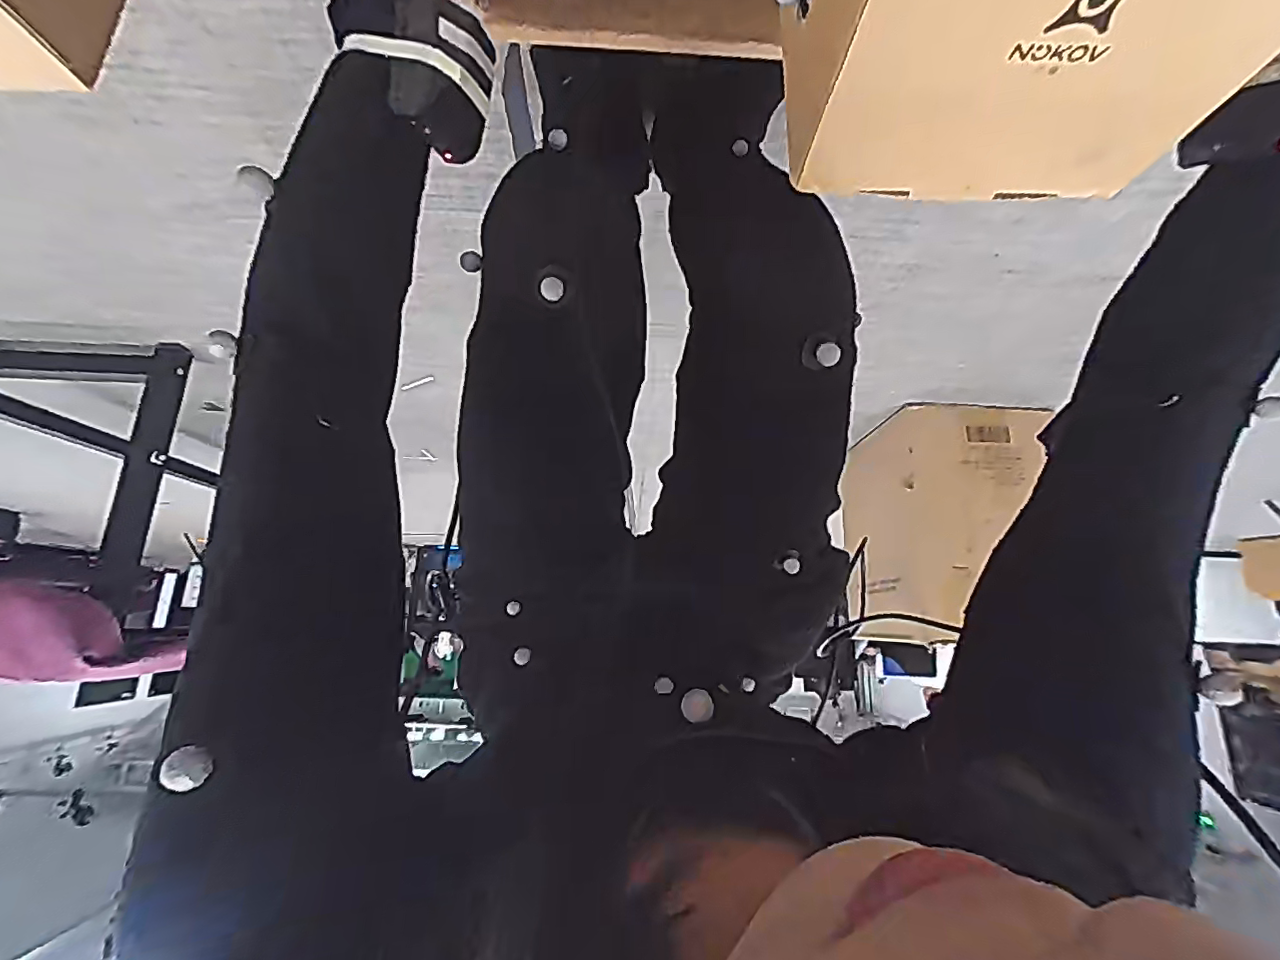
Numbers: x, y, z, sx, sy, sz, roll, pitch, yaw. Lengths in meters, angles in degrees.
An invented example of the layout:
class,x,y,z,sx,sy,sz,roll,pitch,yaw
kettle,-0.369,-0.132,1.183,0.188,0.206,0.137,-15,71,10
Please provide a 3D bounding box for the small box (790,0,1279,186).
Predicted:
class,x,y,z,sx,sy,sz,roll,pitch,yaw
small box,0.159,-0.248,0.204,0.168,0.176,0.179,1,165,0
